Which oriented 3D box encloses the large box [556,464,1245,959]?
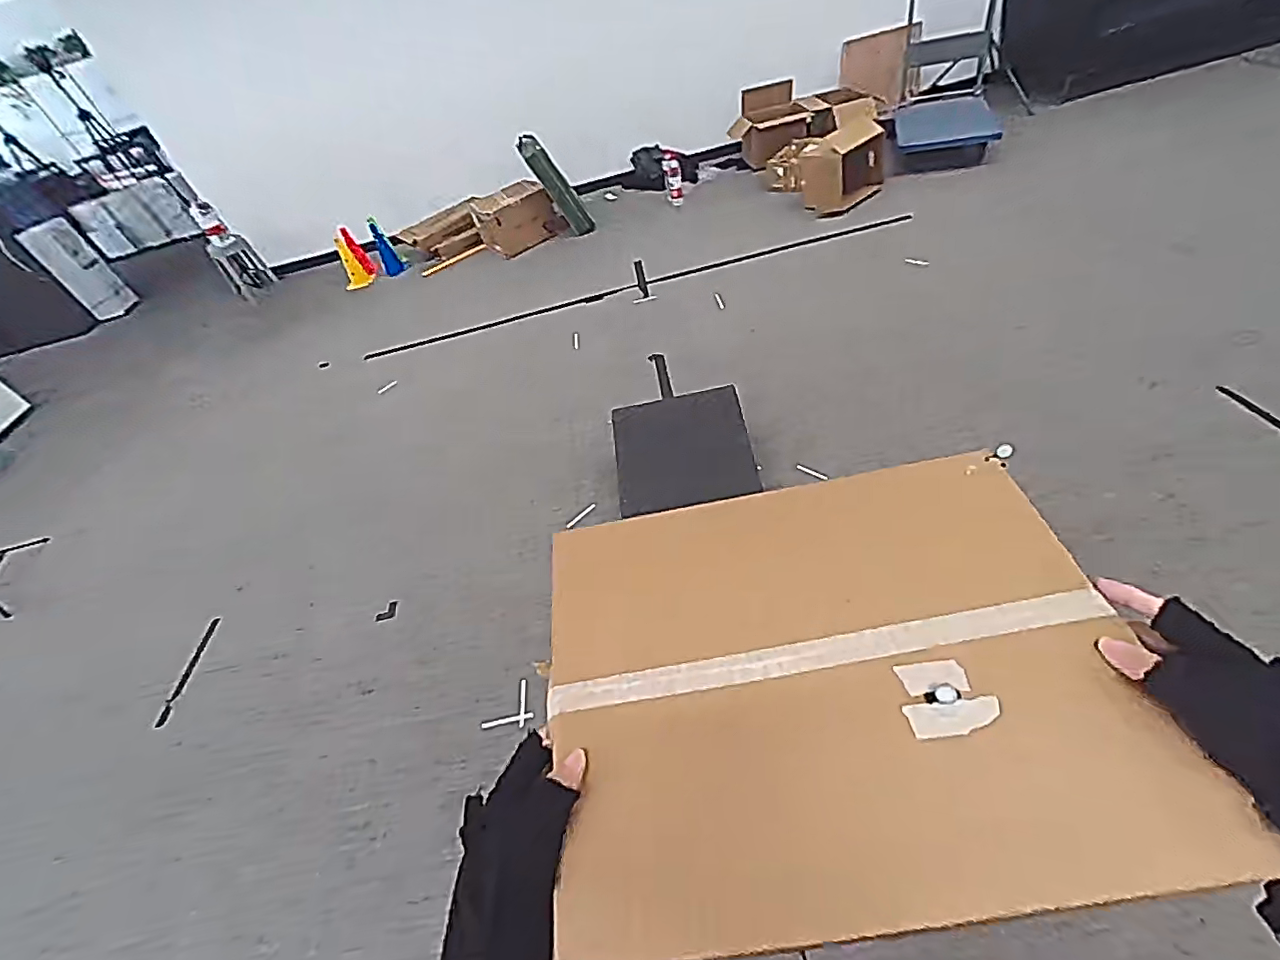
[{"bbox_3d":[0.155,0.233,0.521,0.408,0.320,0.320,-12,49,3],"label":"large box"}]
